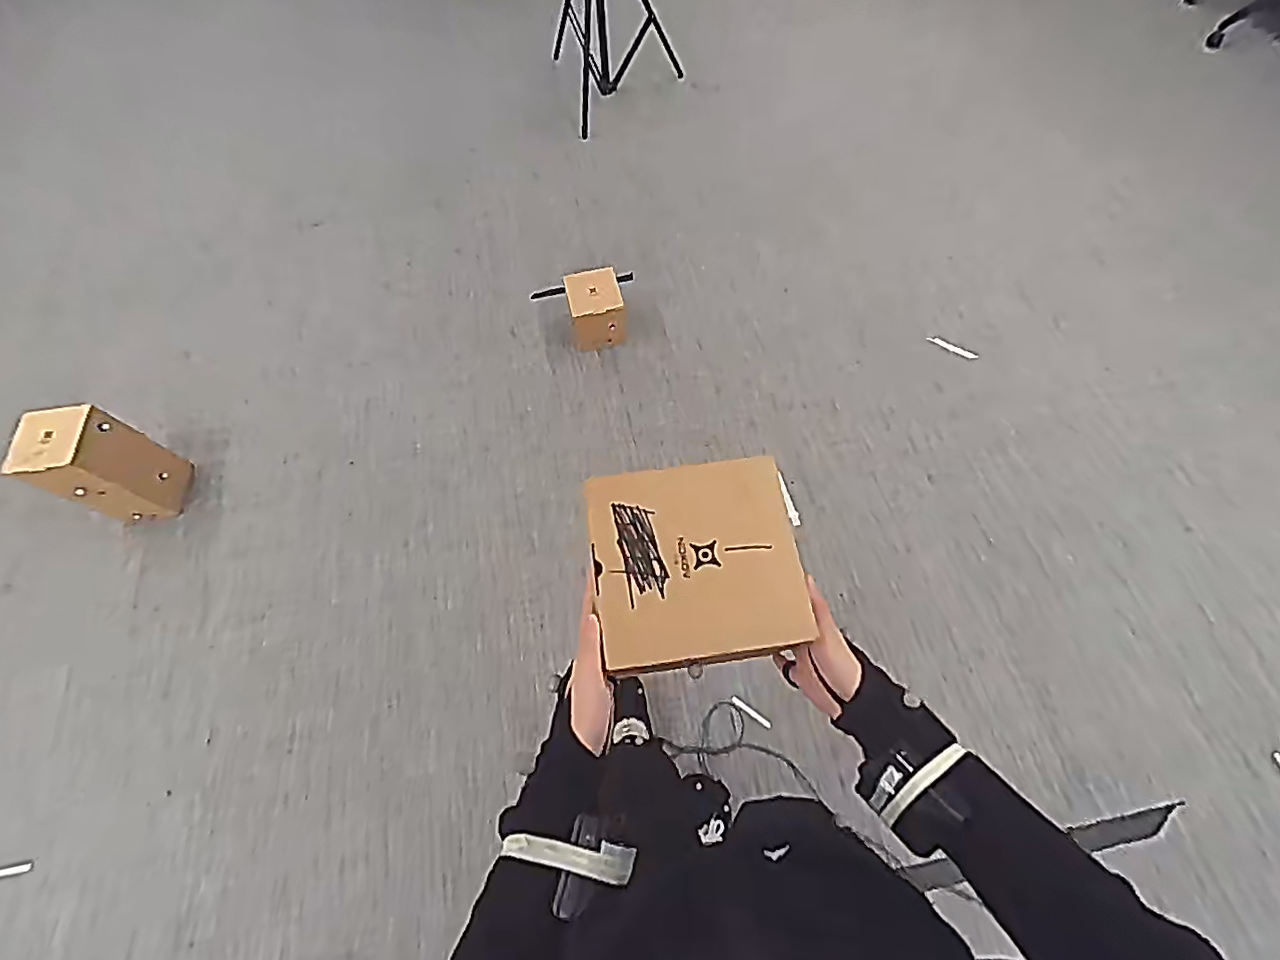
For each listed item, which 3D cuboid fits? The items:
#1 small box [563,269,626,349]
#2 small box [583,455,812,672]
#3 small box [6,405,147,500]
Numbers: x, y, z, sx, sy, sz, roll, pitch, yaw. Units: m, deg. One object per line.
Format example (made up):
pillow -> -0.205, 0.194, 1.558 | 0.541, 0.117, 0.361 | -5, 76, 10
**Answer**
small box -> -0.145, -0.549, 1.762 | 0.168, 0.176, 0.179 | -13, 64, -5
small box -> 0.045, 0.092, 0.534 | 0.179, 0.176, 0.168 | -7, 69, -3
small box -> -1.433, -0.068, 1.391 | 0.168, 0.176, 0.179 | -8, 66, -1
